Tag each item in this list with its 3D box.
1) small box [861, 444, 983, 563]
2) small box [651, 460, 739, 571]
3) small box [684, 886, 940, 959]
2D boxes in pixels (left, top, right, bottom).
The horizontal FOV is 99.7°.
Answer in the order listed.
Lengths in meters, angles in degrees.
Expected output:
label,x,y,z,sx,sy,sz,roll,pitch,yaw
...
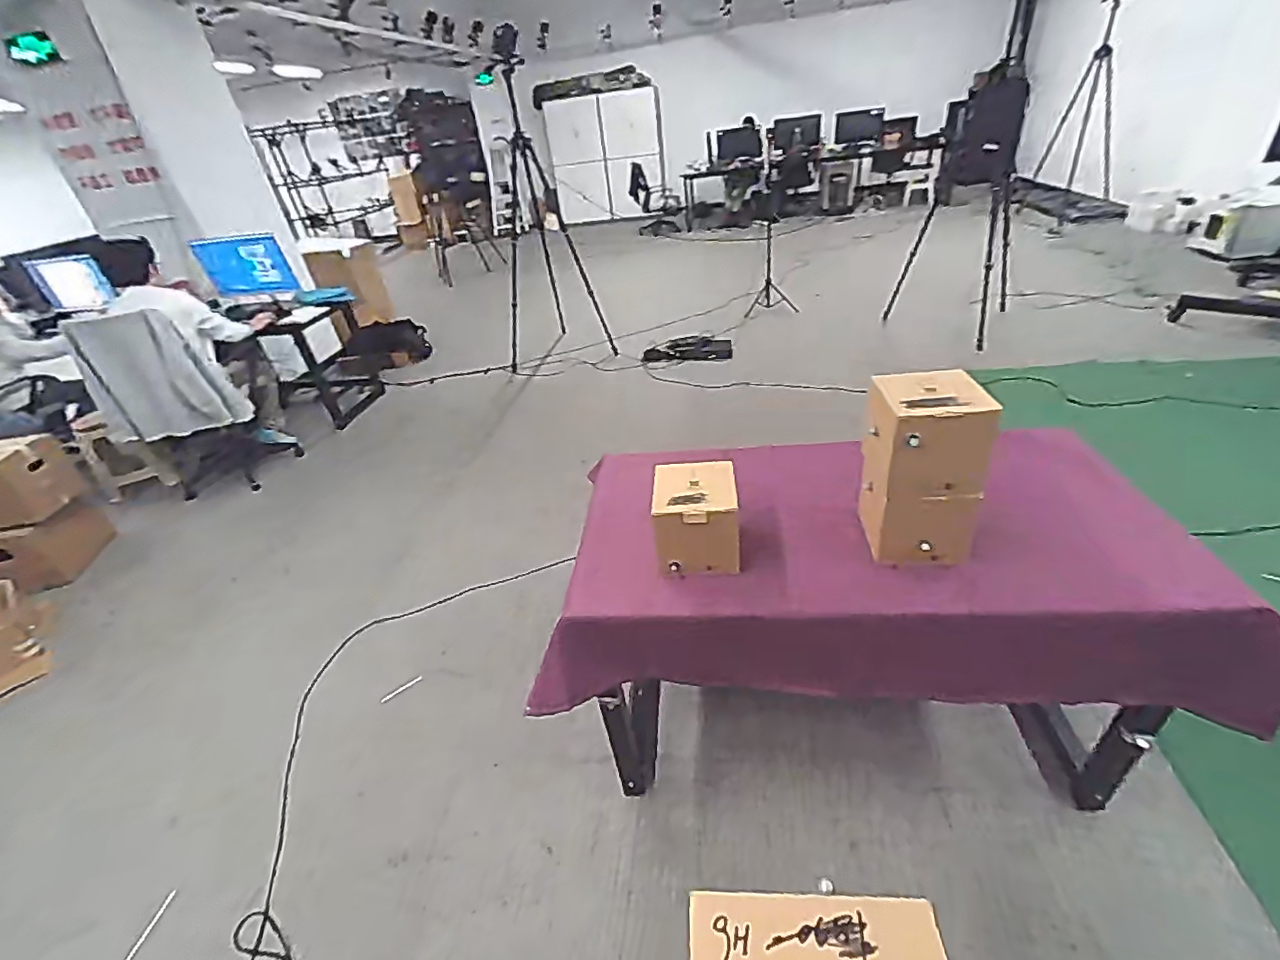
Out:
label,x,y,z,sx,sy,sz,roll,pitch,yaw
small box,0.547,0.045,1.079,0.168,0.176,0.179,-2,34,11
small box,0.118,0.078,1.131,0.168,0.176,0.179,-4,33,7
small box,0.117,0.405,0.368,0.168,0.176,0.179,-3,41,5
